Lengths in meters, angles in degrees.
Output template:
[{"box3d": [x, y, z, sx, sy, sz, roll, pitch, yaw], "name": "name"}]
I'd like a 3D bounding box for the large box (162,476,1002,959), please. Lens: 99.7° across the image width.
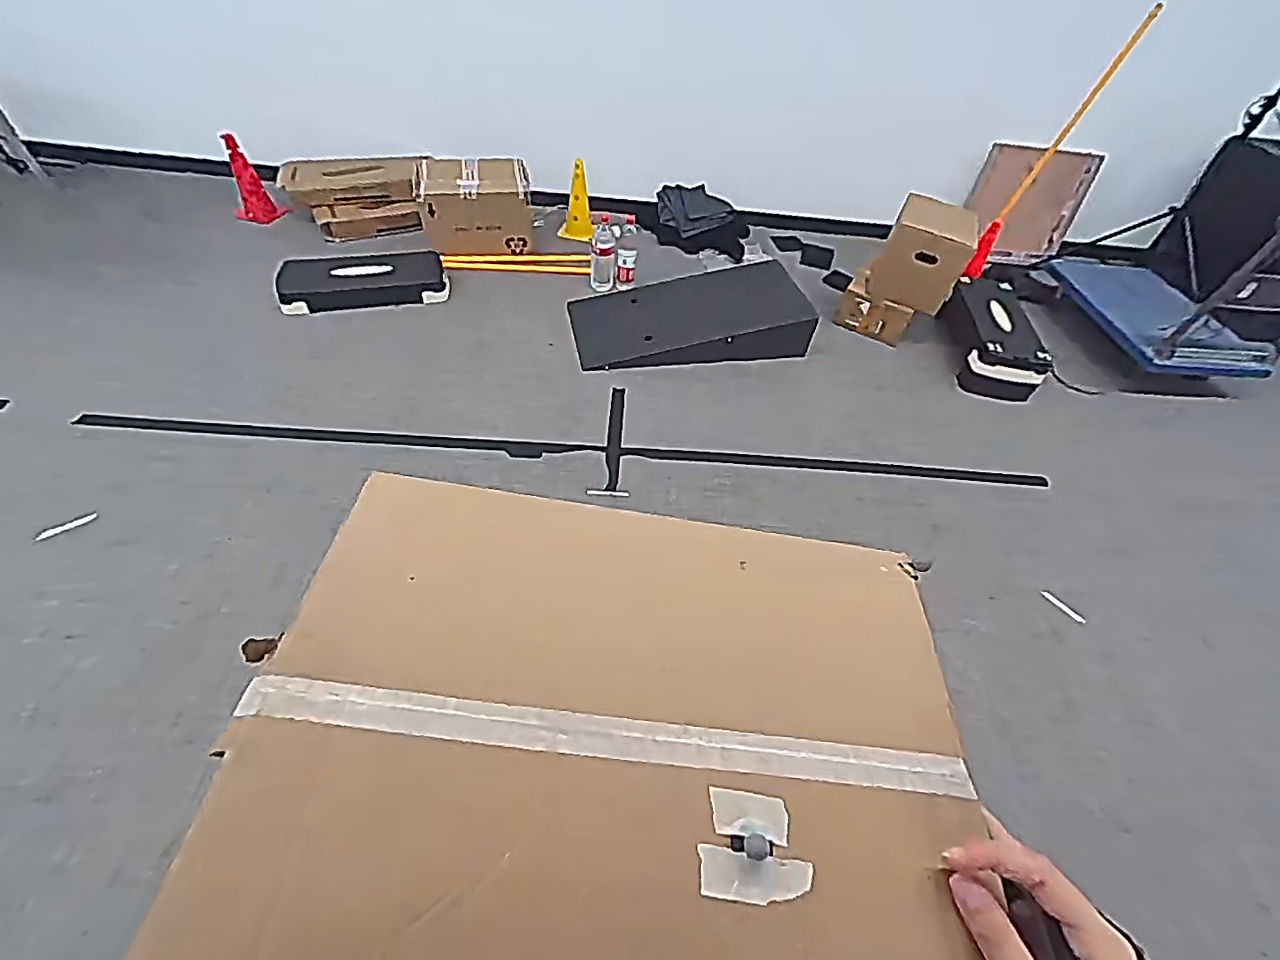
[{"box3d": [-0.027, 0.235, 0.434, 0.408, 0.320, 0.320, 10, 52, -5], "name": "large box"}]
